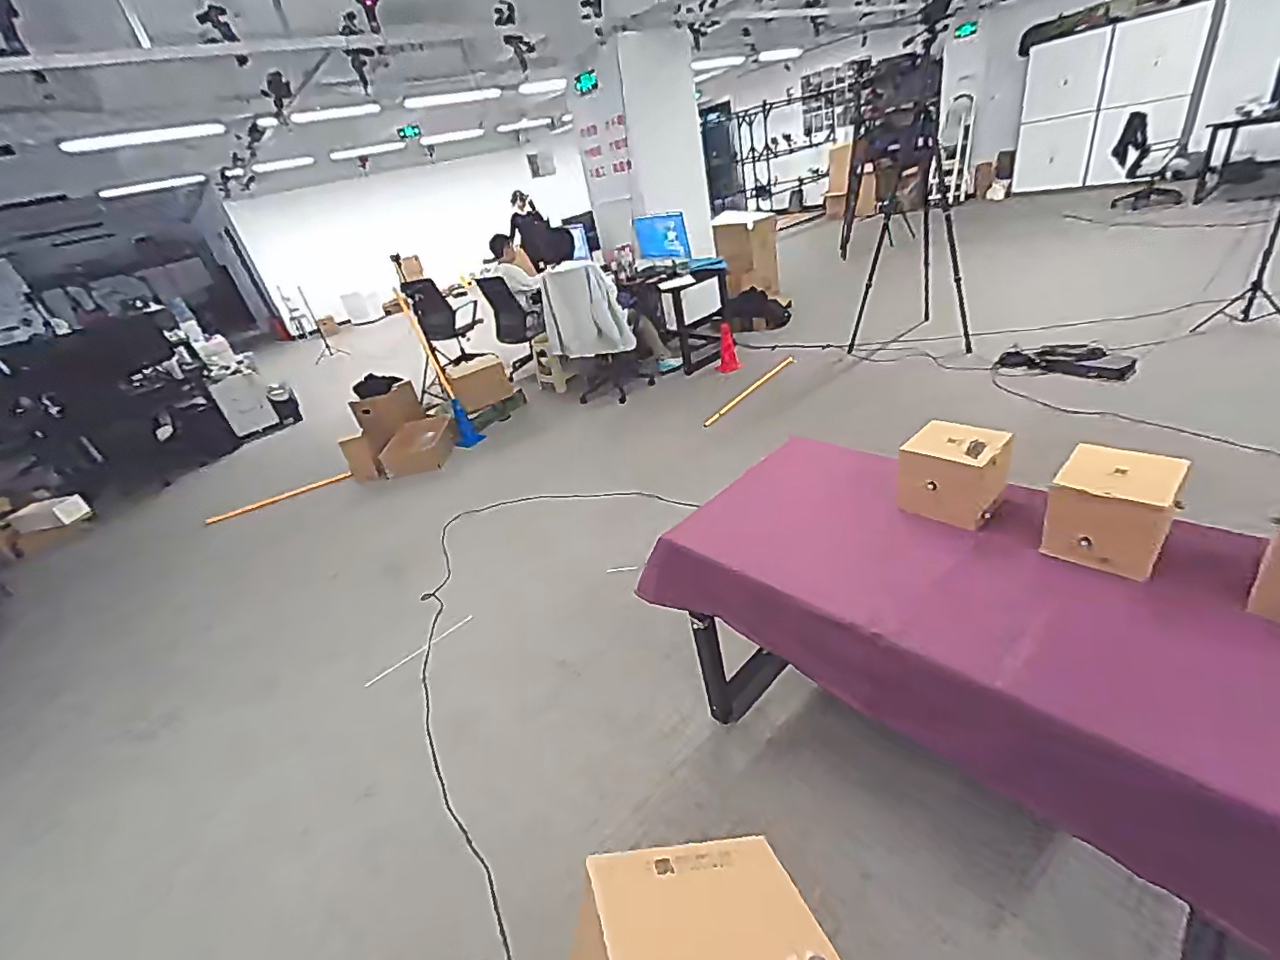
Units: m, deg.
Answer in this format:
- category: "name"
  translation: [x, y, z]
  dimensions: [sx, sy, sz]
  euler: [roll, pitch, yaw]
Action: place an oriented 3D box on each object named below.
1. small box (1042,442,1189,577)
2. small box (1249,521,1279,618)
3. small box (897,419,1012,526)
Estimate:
- category: "small box"
  translation: [0.900, 0.052, 1.035]
  dimensions: [0.179, 0.176, 0.168]
  euler: [-35, 35, -30]
- category: "small box"
  translation: [1.082, 0.121, 0.821]
  dimensions: [0.179, 0.176, 0.168]
  euler: [-35, 34, -27]
- category: "small box"
  translation: [0.712, -0.017, 1.233]
  dimensions: [0.168, 0.176, 0.179]
  euler: [-32, 33, -29]
